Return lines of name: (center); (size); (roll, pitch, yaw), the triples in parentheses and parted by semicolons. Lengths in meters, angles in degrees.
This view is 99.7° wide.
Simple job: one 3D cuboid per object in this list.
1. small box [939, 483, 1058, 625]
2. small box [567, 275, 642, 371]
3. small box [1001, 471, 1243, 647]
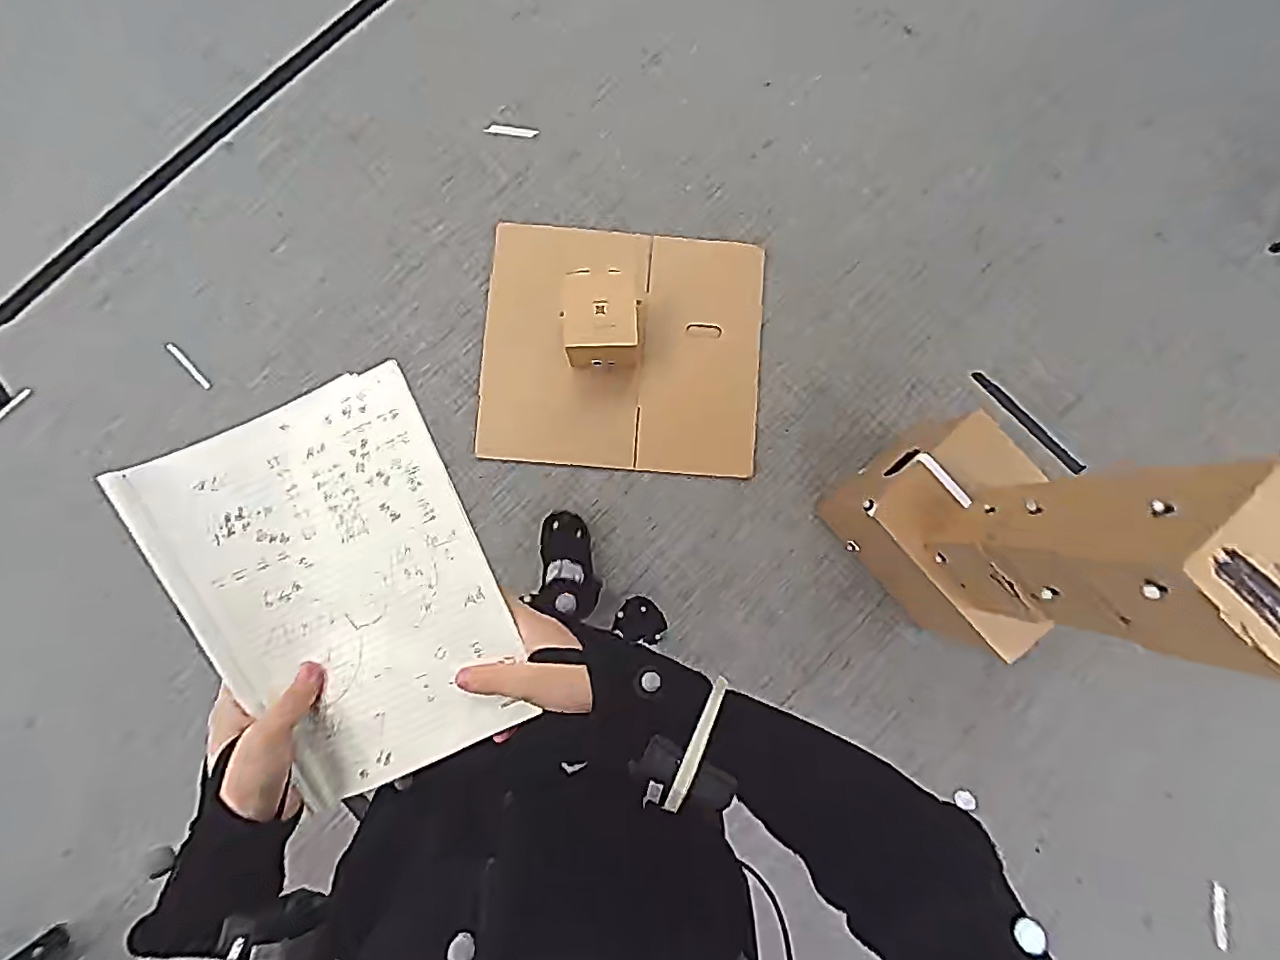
small box: (0.668, 0.127, 0.953); (0.179, 0.176, 0.168); (-39, 87, -4)
small box: (-0.083, -0.366, 1.283); (0.168, 0.176, 0.179); (-2, 87, -1)
small box: (0.677, 0.108, 0.791); (0.179, 0.176, 0.168); (-42, 88, -2)
